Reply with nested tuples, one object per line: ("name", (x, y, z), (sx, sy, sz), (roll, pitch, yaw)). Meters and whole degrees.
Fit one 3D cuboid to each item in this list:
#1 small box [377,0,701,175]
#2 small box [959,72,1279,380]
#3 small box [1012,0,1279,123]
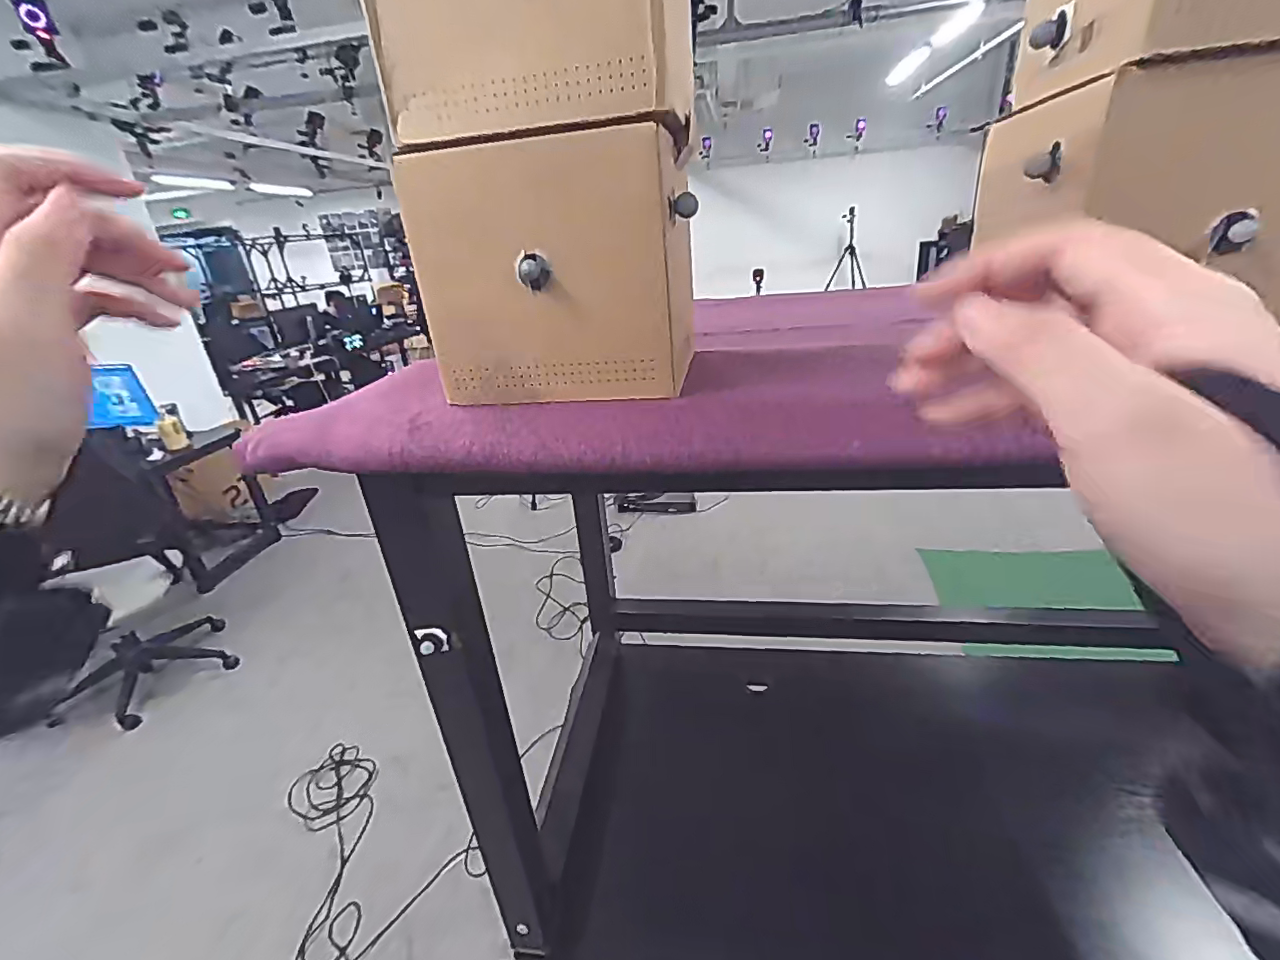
("small box", (-0.057, -0.306, 0.357), (0.179, 0.176, 0.168), (-1, 26, 11))
("small box", (0.354, -0.170, 0.384), (0.168, 0.176, 0.179), (1, 25, 11))
("small box", (0.350, -0.313, 0.304), (0.179, 0.176, 0.168), (0, 24, 12))
